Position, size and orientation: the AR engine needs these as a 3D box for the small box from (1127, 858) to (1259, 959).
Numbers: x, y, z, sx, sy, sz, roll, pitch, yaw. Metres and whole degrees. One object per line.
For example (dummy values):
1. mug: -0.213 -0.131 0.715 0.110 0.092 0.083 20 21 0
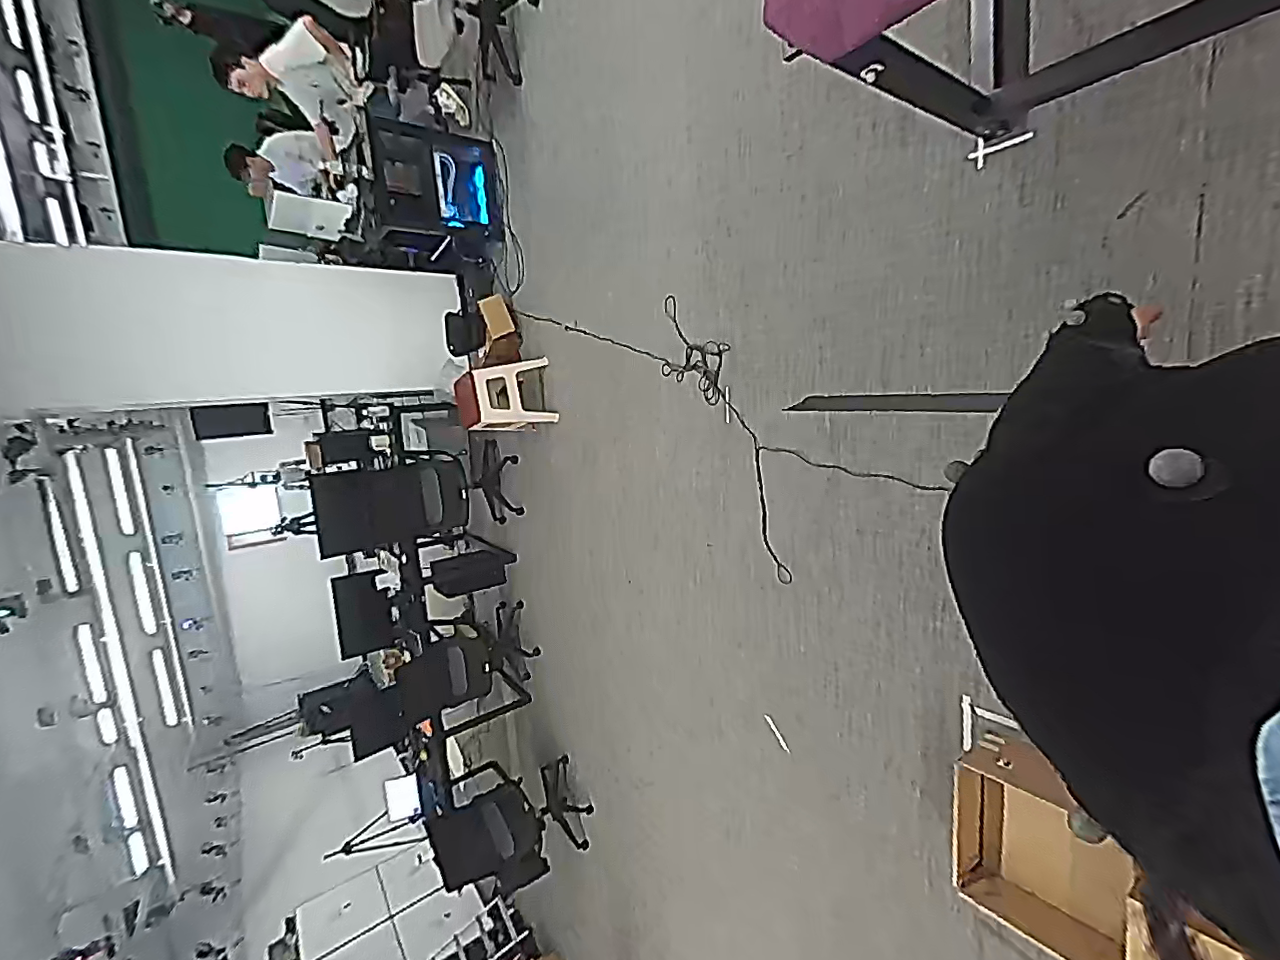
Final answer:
1. small box: 1.134 0.935 1.111 0.168 0.176 0.179 5 103 55
